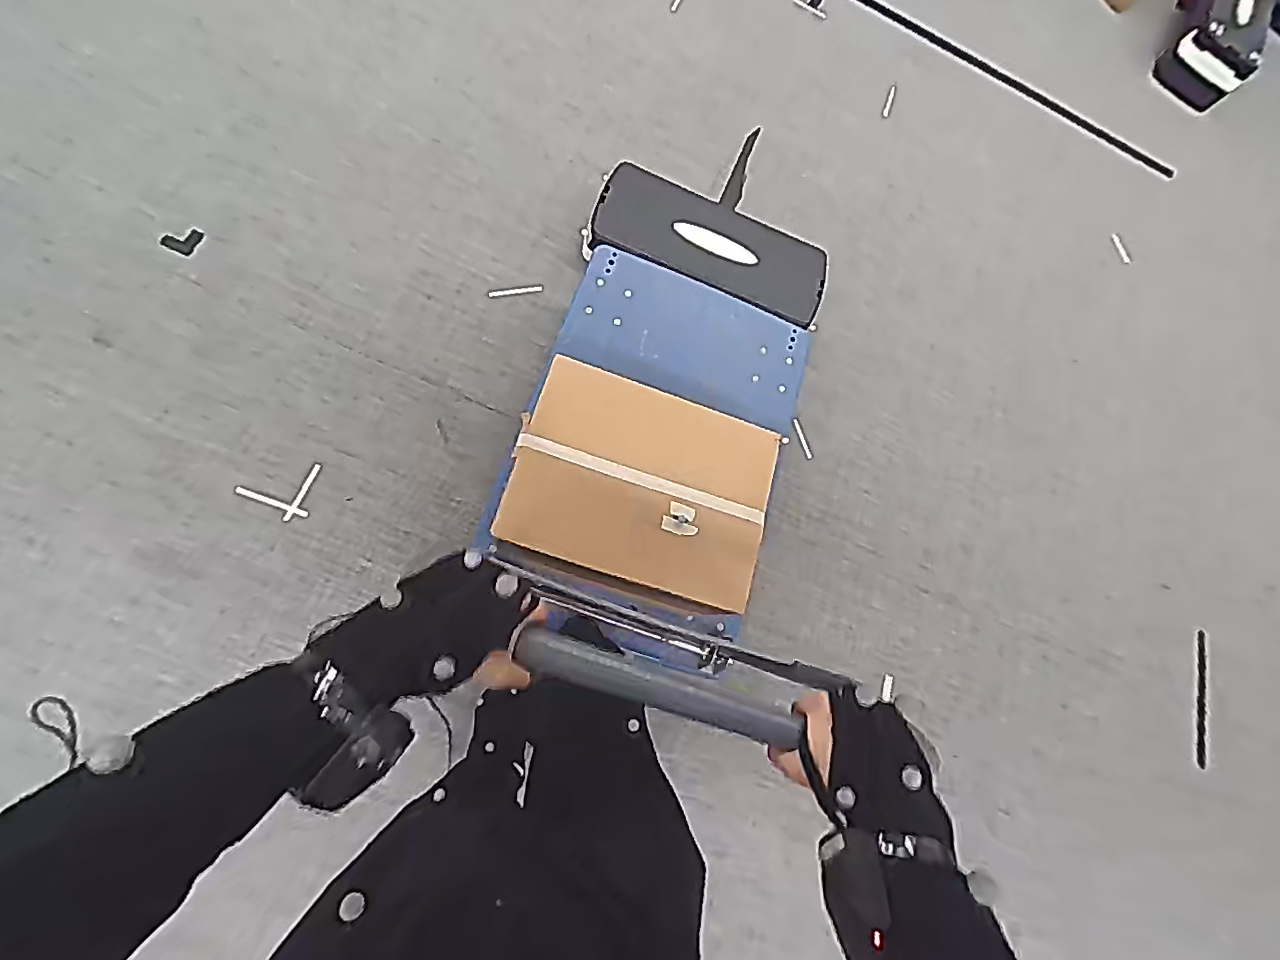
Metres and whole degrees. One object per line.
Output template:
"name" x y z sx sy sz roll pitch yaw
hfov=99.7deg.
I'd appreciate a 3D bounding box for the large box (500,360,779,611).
"large box" -0.017 0.038 1.000 0.408 0.320 0.320 19 73 -8
